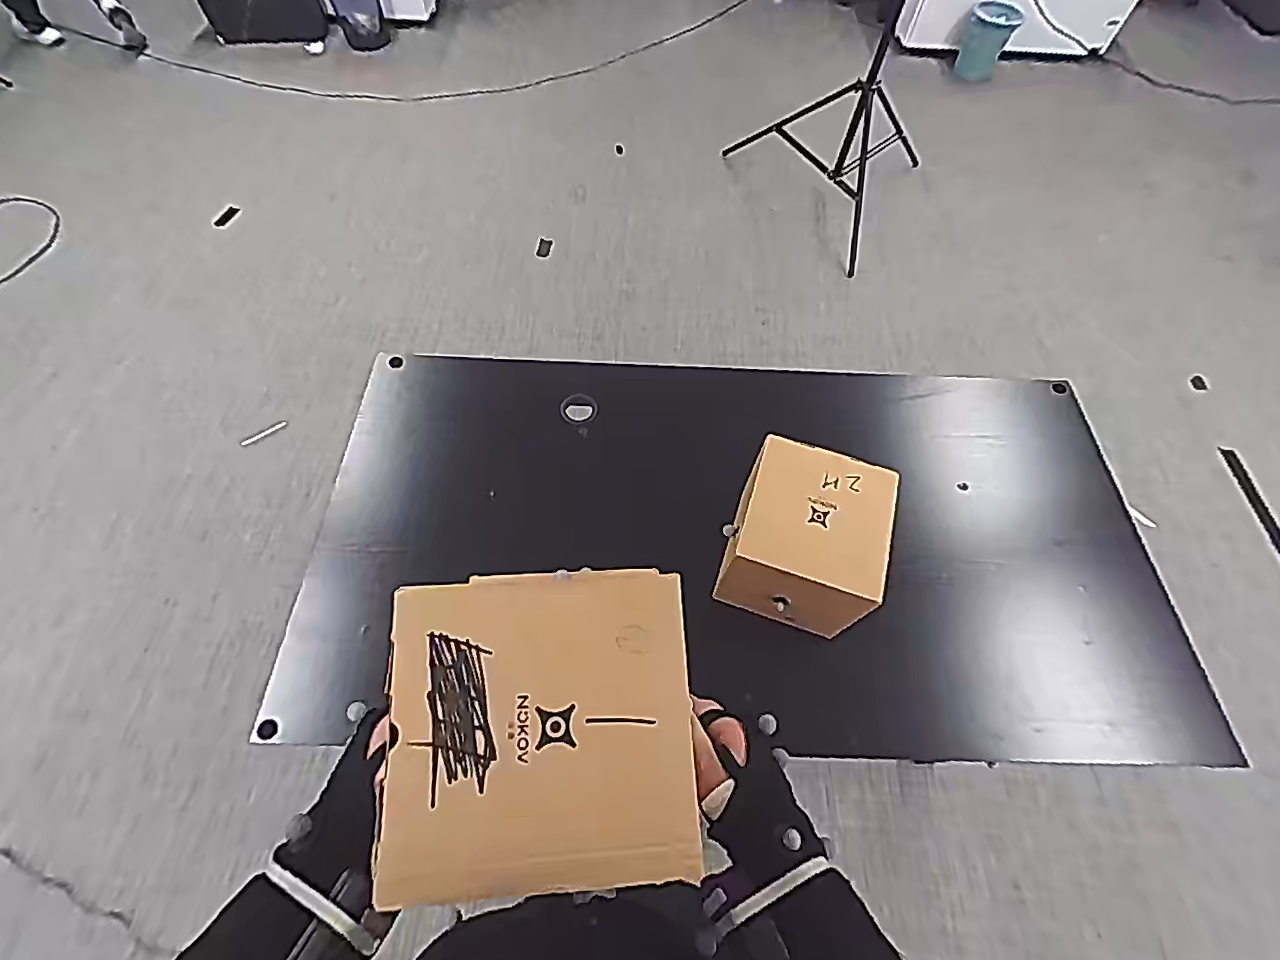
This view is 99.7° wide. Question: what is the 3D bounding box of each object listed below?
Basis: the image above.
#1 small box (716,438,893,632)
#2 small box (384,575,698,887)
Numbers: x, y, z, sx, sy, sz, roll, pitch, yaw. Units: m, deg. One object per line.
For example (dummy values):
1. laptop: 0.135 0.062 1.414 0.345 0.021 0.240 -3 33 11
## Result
1. small box: 0.206 0.080 0.710 0.168 0.176 0.179 18 61 7
2. small box: -0.061 0.165 0.397 0.179 0.176 0.168 -2 73 -4
